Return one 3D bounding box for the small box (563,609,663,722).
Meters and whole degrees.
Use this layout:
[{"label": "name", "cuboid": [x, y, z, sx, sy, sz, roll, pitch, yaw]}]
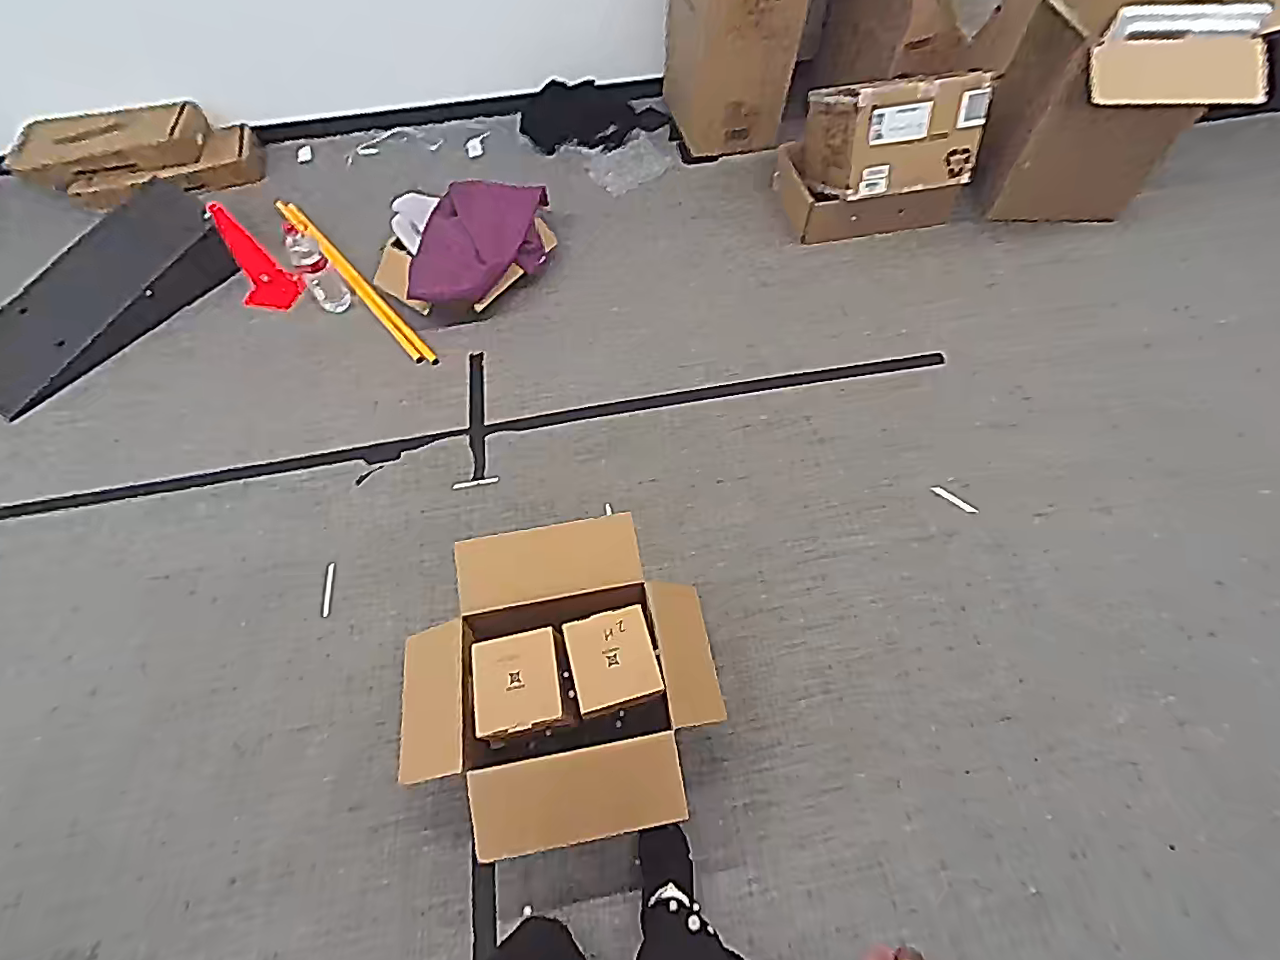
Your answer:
[{"label": "small box", "cuboid": [-0.057, 0.392, 1.124, 0.168, 0.176, 0.179, -13, 61, -10]}]
